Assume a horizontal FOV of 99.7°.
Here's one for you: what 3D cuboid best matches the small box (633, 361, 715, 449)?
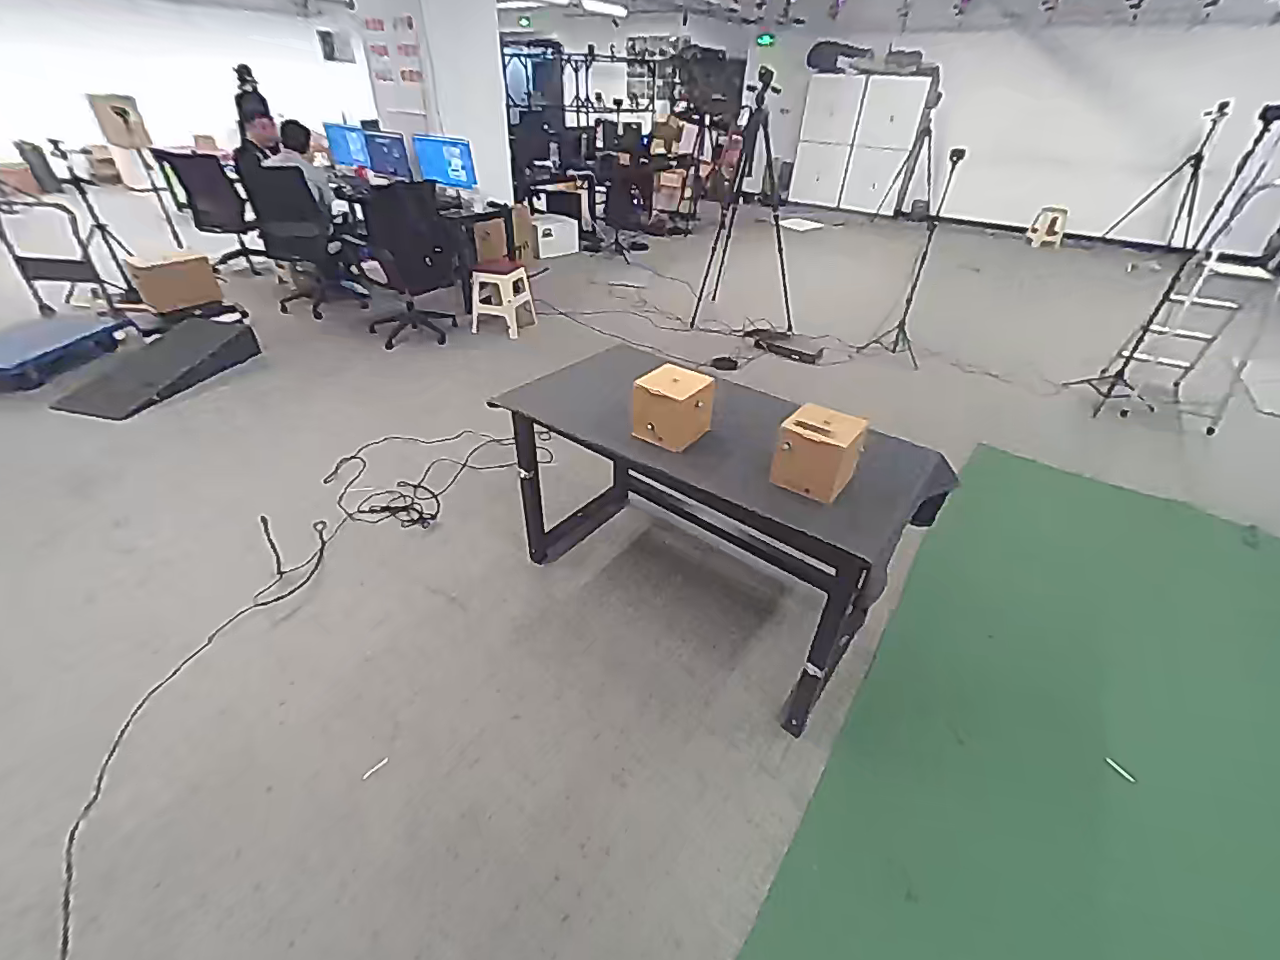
[{"bbox_3d":[0.091,-0.214,1.545,0.168,0.176,0.179,25,42,27],"label":"small box"}]
